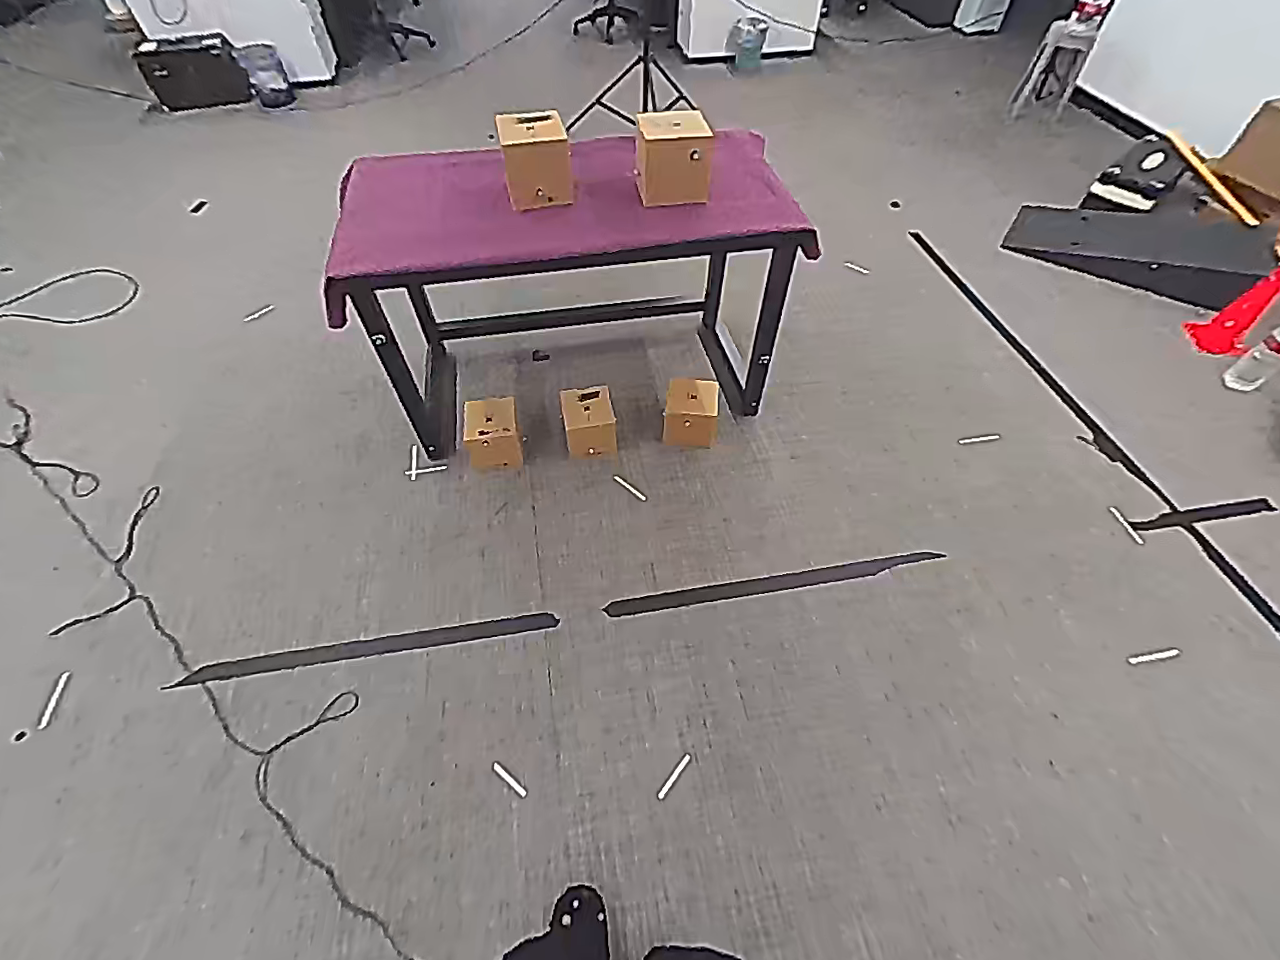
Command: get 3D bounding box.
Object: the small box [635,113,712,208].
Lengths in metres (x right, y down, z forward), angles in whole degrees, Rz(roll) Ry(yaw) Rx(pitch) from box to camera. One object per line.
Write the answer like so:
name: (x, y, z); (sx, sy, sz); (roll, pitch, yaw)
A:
small box: (0.082, -0.854, 1.450); (0.179, 0.176, 0.168); (-8, 53, -5)

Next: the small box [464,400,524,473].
small box: (-0.491, -0.146, 1.833); (0.168, 0.176, 0.179); (-7, 52, -5)

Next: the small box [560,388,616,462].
small box: (-0.178, -0.188, 1.863); (0.168, 0.176, 0.179); (-9, 55, -7)

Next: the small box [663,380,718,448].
small box: (0.175, -0.228, 1.896); (0.179, 0.176, 0.168); (4, 54, 4)
